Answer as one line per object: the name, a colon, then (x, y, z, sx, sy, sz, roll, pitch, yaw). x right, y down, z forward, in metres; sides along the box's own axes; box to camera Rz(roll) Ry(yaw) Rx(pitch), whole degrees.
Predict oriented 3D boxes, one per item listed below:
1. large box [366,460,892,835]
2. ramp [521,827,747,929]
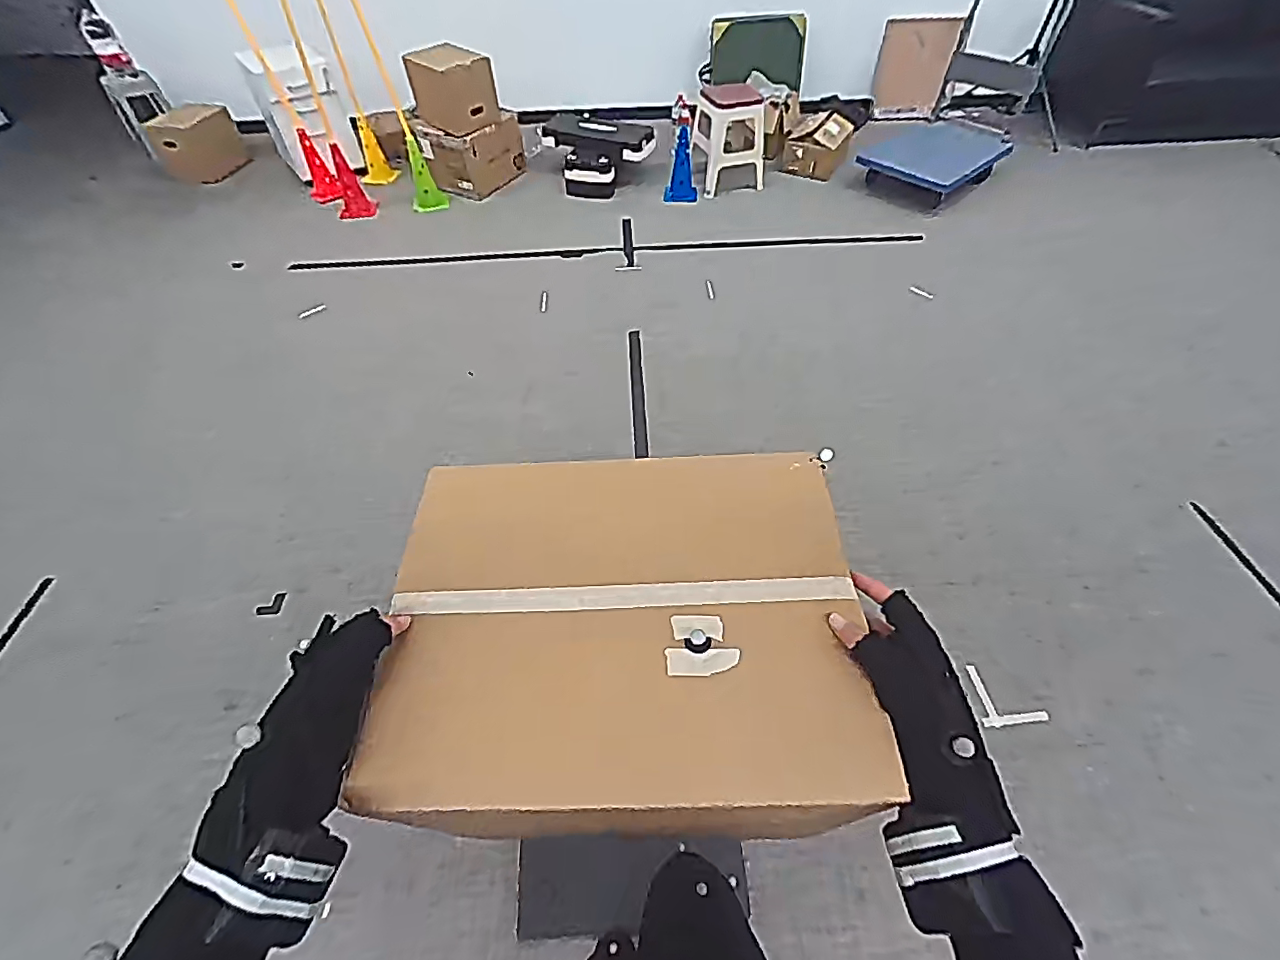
large box: (-0.007, 0.198, 0.608, 0.408, 0.320, 0.320, -2, 53, 2)
ramp: (-0.041, 0.496, 1.383, 0.509, 0.206, 0.991, -4, 51, -4)
